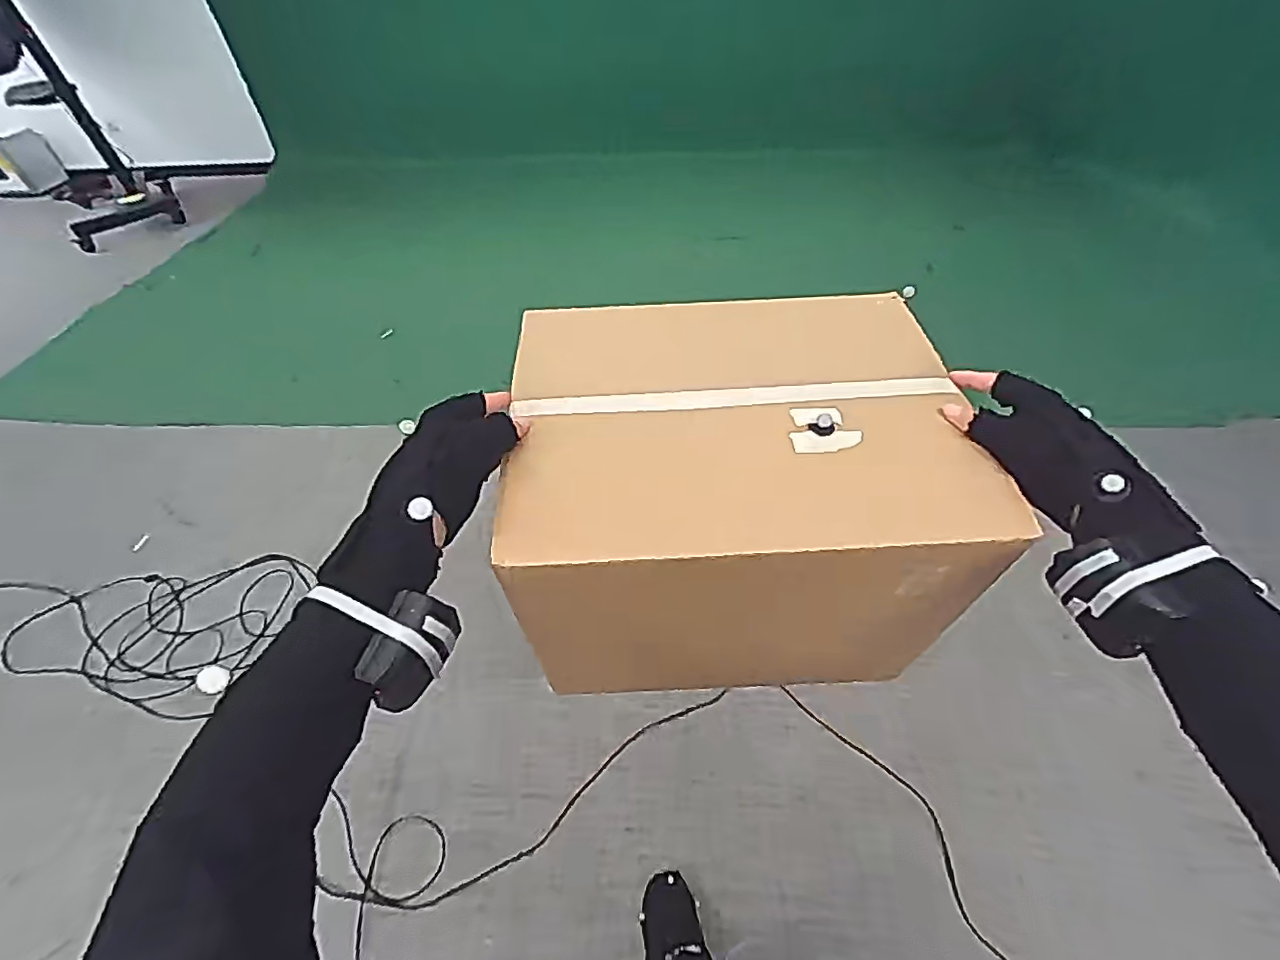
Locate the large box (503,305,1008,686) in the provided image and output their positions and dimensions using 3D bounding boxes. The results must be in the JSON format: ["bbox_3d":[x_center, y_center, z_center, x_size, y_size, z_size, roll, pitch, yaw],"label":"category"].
[{"bbox_3d":[0.085,0.025,0.623,0.408,0.320,0.320,-2,52,-1],"label":"large box"}]
